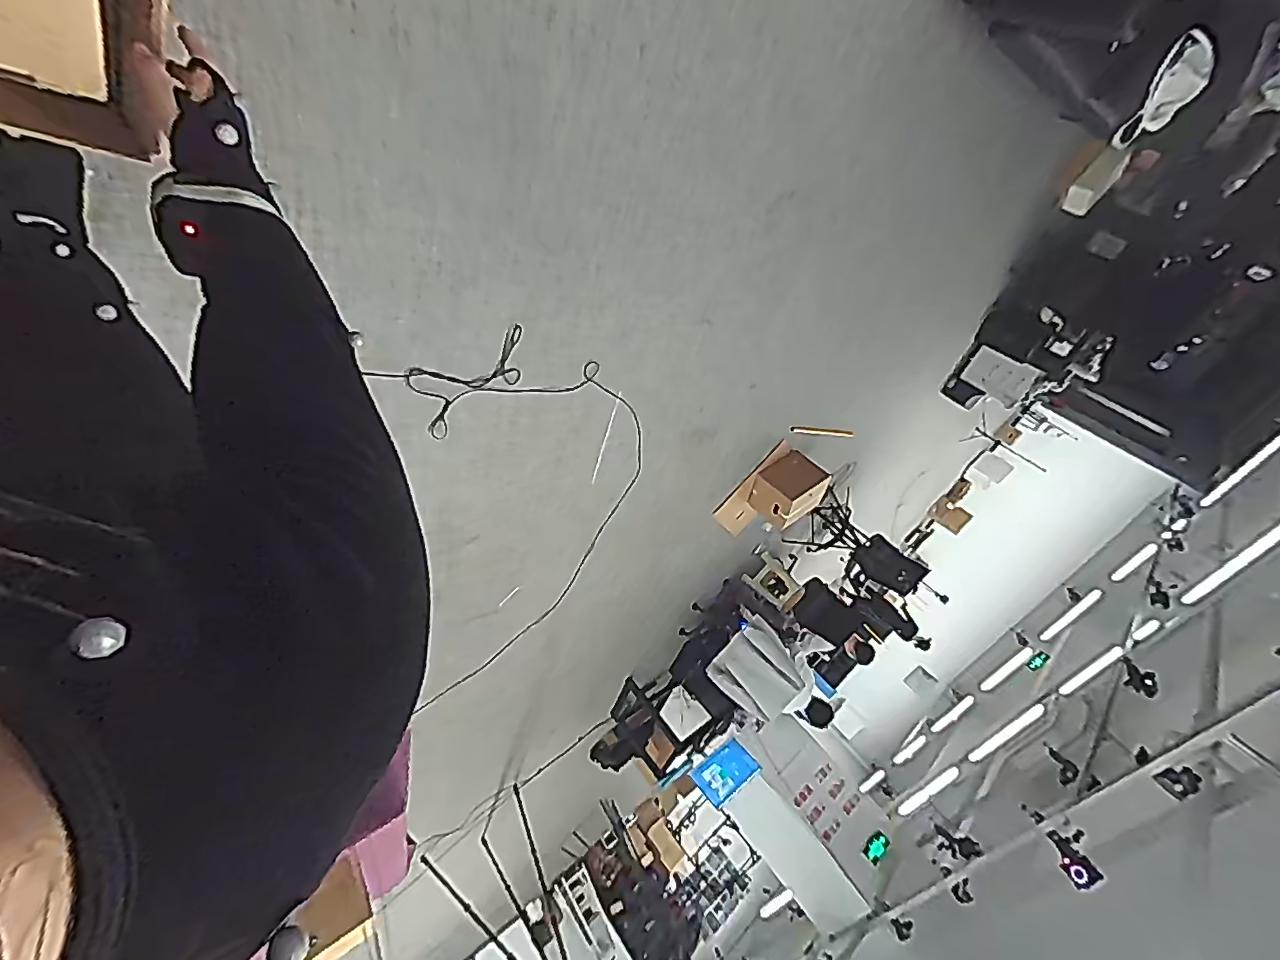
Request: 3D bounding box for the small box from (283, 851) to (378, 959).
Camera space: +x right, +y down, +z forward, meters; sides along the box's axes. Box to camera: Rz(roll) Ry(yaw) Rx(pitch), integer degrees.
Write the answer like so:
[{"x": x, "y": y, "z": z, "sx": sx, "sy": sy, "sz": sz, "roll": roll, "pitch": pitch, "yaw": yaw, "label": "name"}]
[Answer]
[{"x": -0.820, "y": 1.139, "z": 1.440, "sx": 0.179, "sy": 0.176, "sz": 0.168, "roll": -18, "pitch": 141, "yaw": -39, "label": "small box"}]
